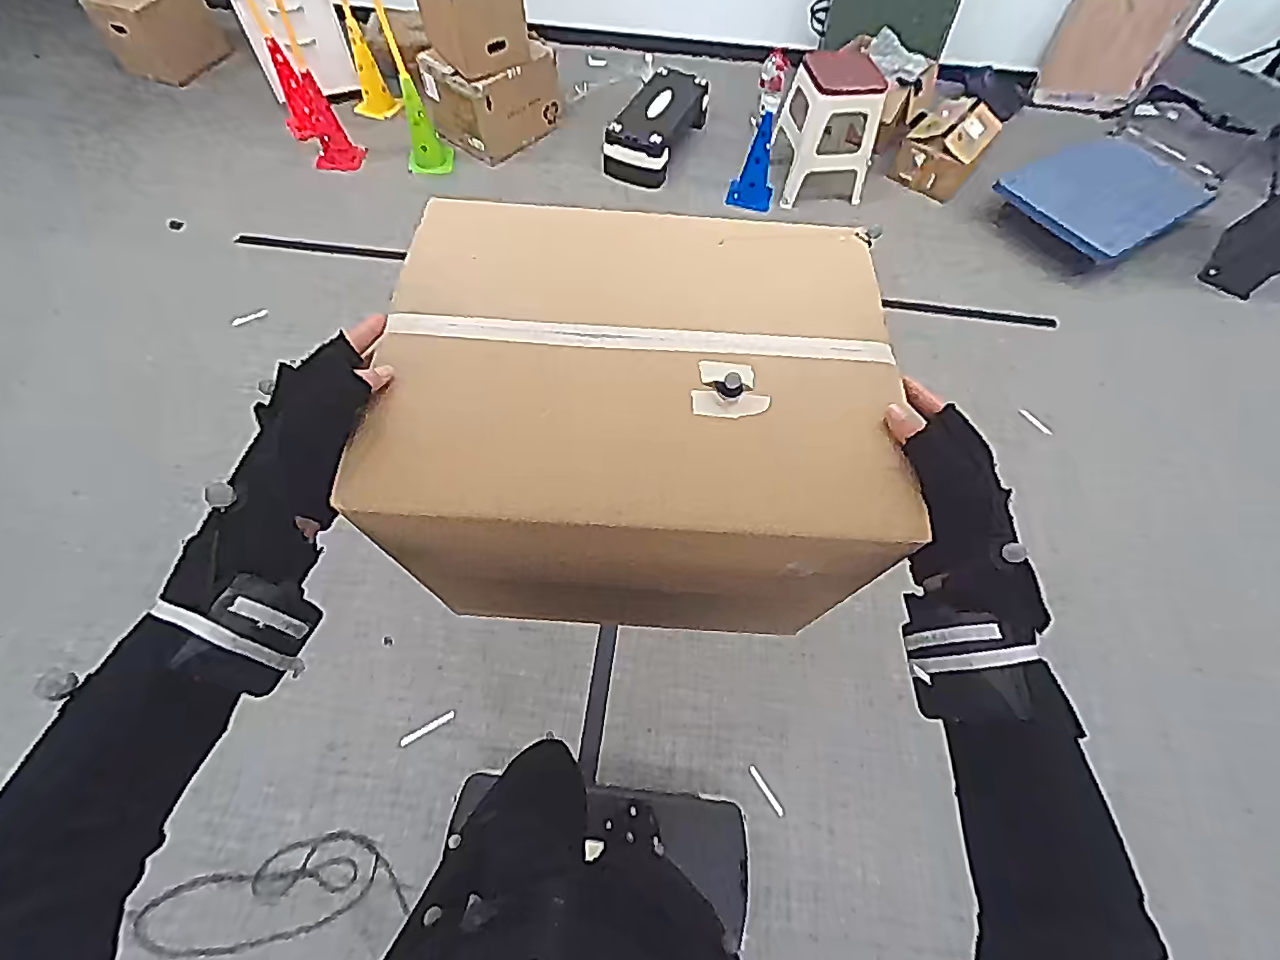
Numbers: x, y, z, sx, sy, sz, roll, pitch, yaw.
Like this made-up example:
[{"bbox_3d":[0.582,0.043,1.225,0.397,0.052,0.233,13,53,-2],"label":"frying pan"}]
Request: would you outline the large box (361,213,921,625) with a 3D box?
[{"bbox_3d":[-0.001,-0.038,0.576,0.408,0.320,0.320,4,63,-2],"label":"large box"}]
